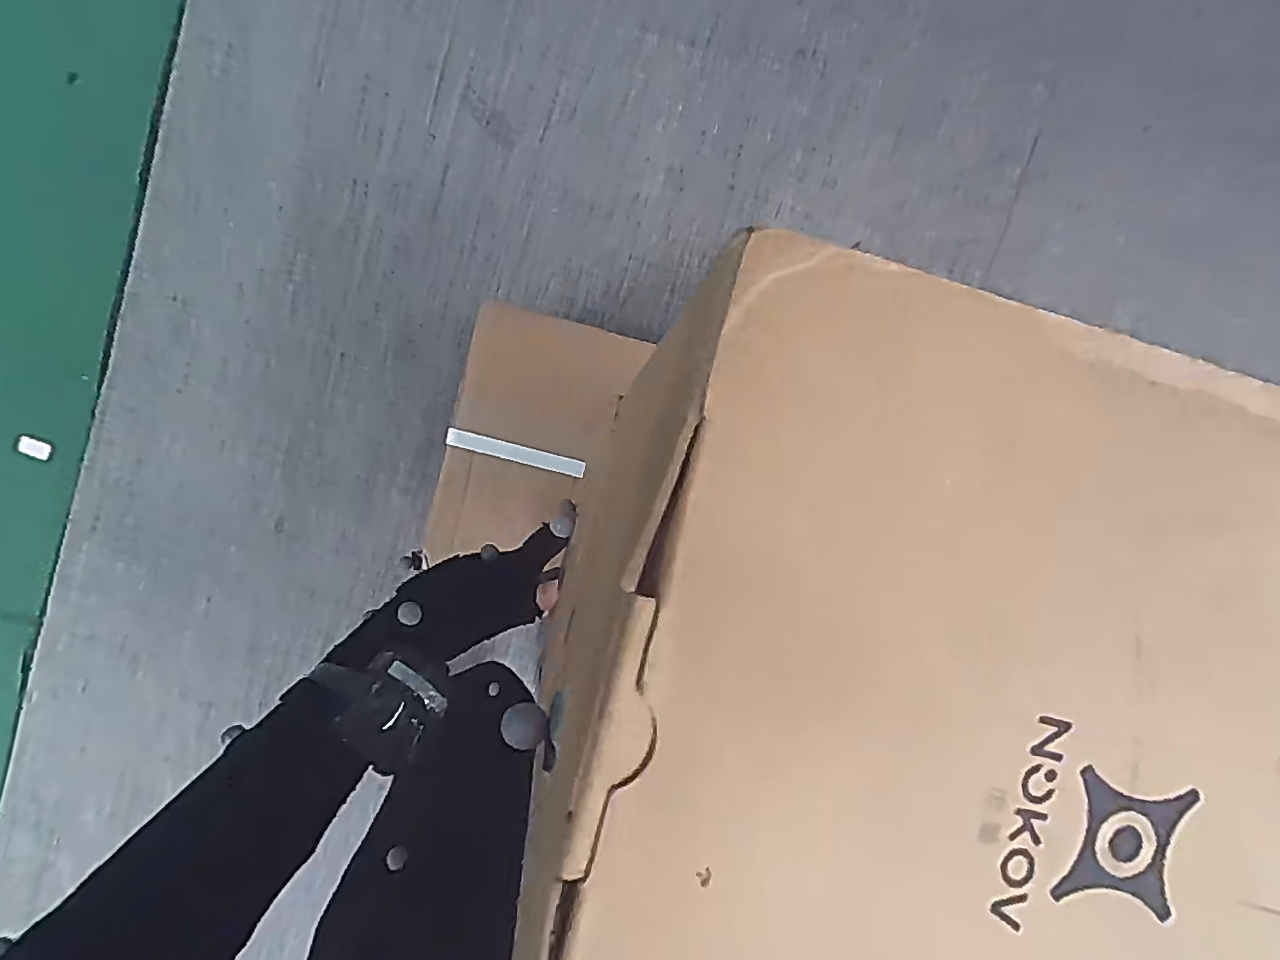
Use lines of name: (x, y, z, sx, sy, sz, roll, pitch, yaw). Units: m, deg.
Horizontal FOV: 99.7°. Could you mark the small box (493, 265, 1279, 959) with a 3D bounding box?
small box: (0.062, 0.061, 0.176, 0.179, 0.176, 0.168, 14, 90, -8)
